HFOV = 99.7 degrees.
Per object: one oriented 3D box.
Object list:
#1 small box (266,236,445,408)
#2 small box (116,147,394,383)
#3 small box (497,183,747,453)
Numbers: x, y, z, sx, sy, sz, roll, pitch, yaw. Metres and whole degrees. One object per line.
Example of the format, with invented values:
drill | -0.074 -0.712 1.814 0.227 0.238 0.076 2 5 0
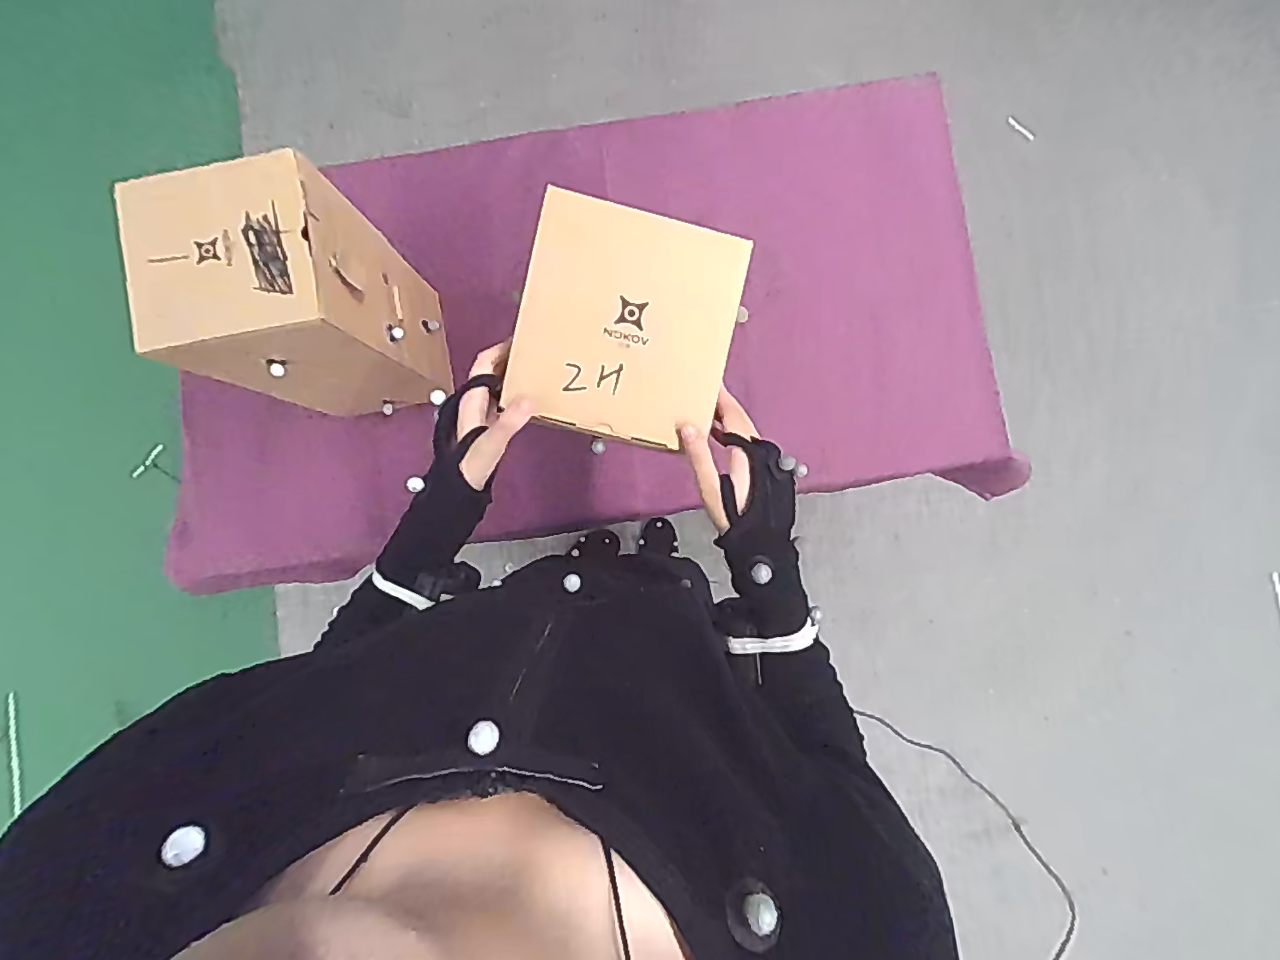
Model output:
small box | -0.383 -0.204 0.741 0.179 0.176 0.168 -10 87 0
small box | -0.385 -0.211 0.577 0.179 0.176 0.168 -10 87 2
small box | -0.020 -0.131 0.503 0.168 0.176 0.179 14 93 -5
